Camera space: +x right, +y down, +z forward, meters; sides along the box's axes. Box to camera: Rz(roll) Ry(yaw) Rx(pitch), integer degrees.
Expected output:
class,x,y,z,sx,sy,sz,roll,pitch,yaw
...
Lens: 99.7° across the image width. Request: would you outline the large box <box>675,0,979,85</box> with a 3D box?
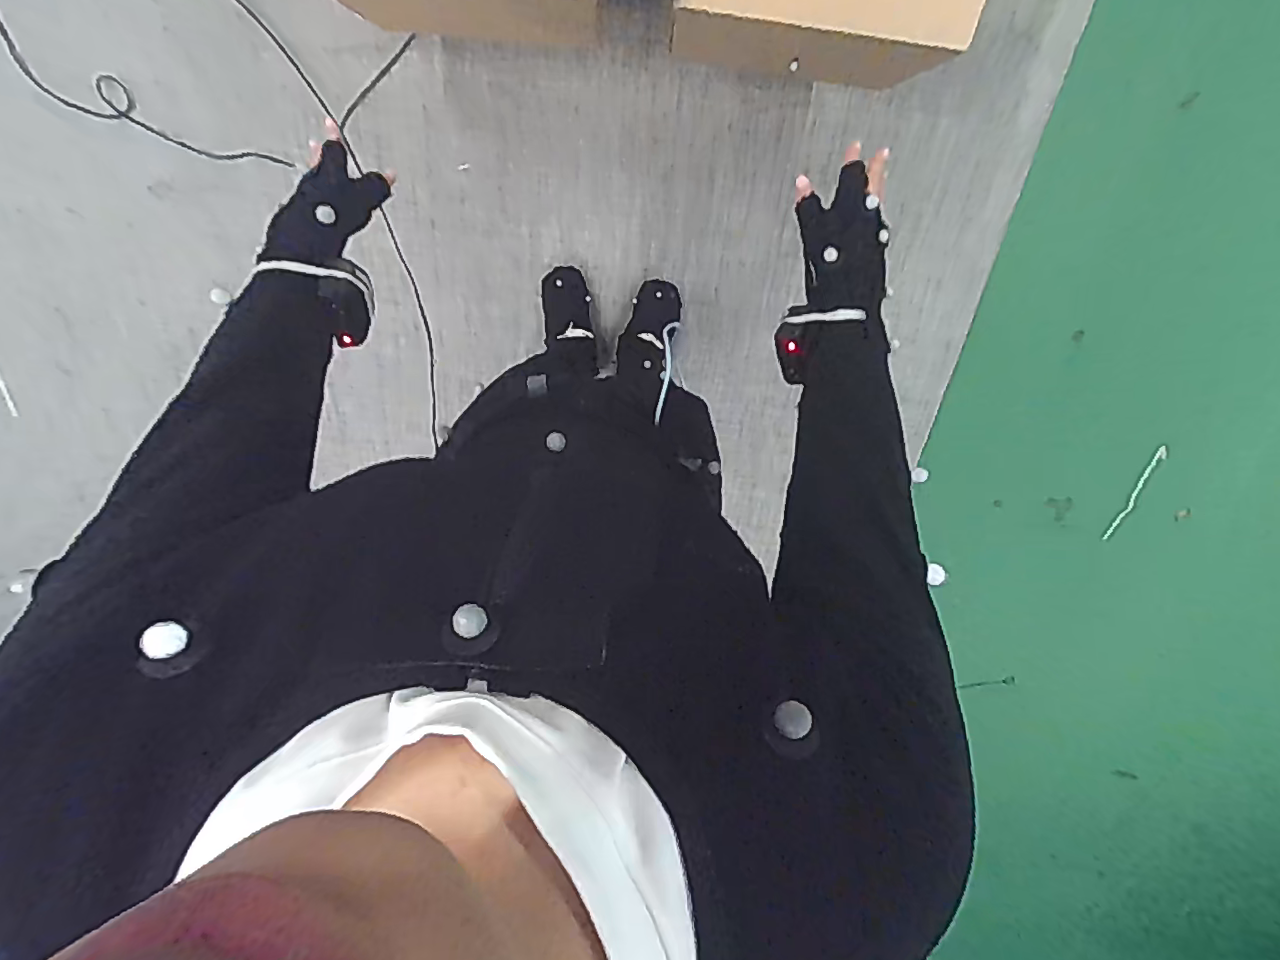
class,x,y,z,sx,sy,sz,roll,pitch,yaw
large box,0.276,-0.820,0.806,0.408,0.320,0.320,7,117,-3
